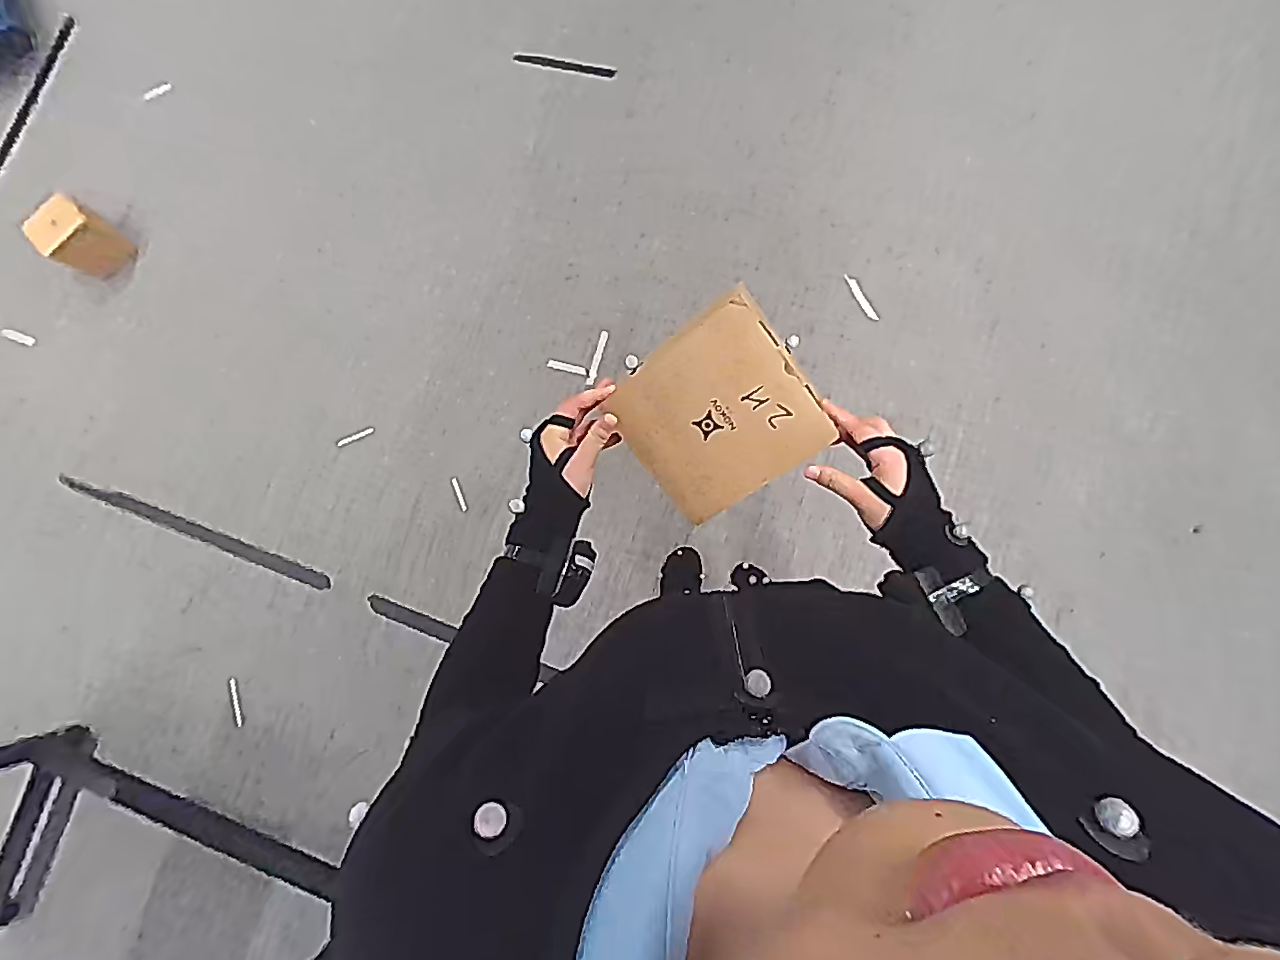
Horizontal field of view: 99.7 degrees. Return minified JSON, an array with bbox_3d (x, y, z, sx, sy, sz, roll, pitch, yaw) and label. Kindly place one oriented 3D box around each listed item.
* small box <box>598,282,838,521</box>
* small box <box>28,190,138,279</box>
[{"bbox_3d":[0.086,-0.092,0.589,0.179,0.176,0.168,-35,104,22],"label":"small box"},{"bbox_3d":[-1.872,-0.820,1.825,0.168,0.176,0.179,43,88,11],"label":"small box"}]
